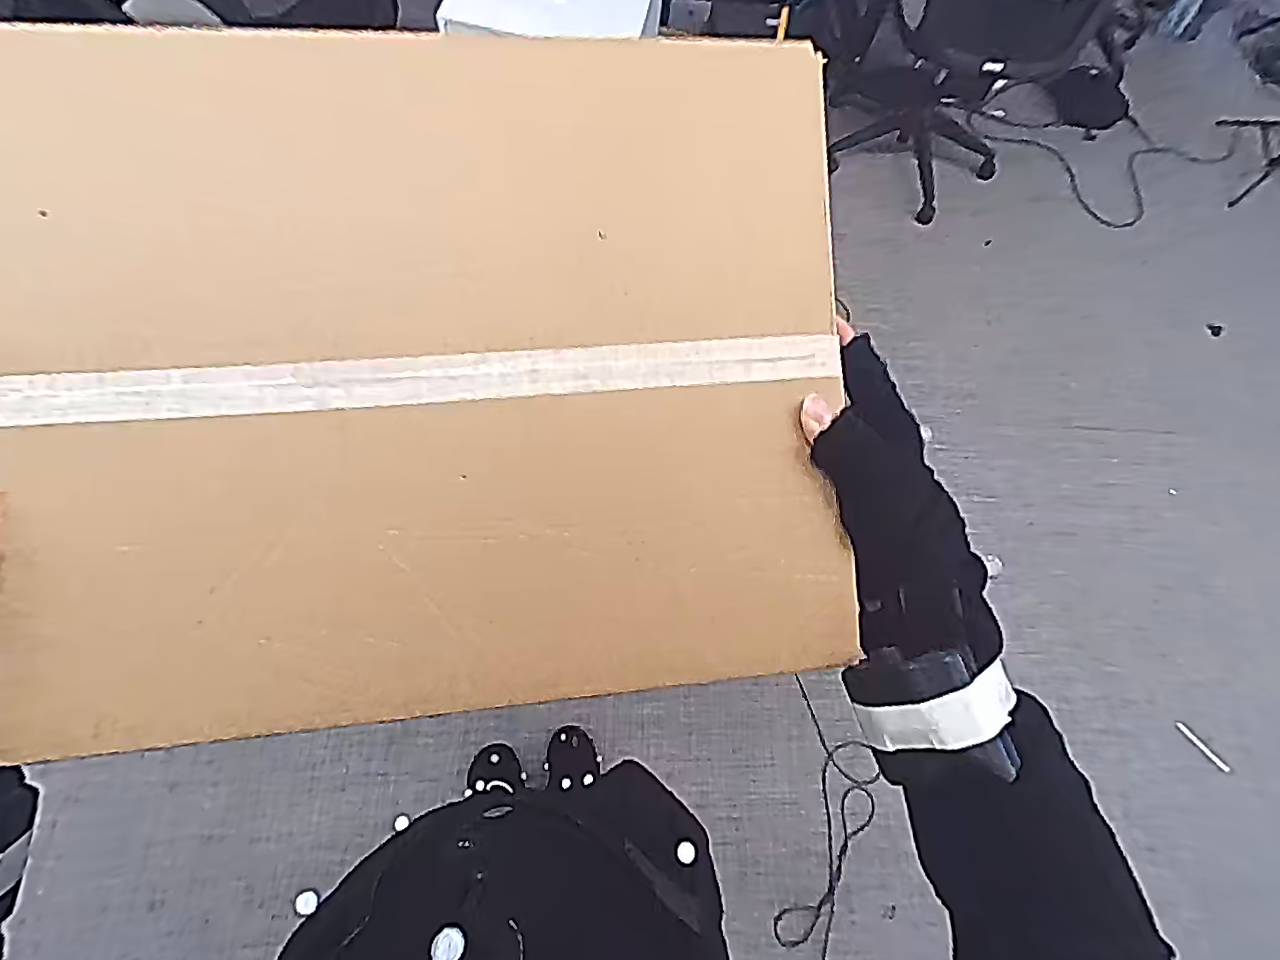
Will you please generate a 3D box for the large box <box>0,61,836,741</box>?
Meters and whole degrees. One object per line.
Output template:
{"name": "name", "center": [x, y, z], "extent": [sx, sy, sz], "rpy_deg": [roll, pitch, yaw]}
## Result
{"name": "large box", "center": [-0.115, -0.049, 0.412], "extent": [0.408, 0.320, 0.320], "rpy_deg": [-3, 90, -7]}
